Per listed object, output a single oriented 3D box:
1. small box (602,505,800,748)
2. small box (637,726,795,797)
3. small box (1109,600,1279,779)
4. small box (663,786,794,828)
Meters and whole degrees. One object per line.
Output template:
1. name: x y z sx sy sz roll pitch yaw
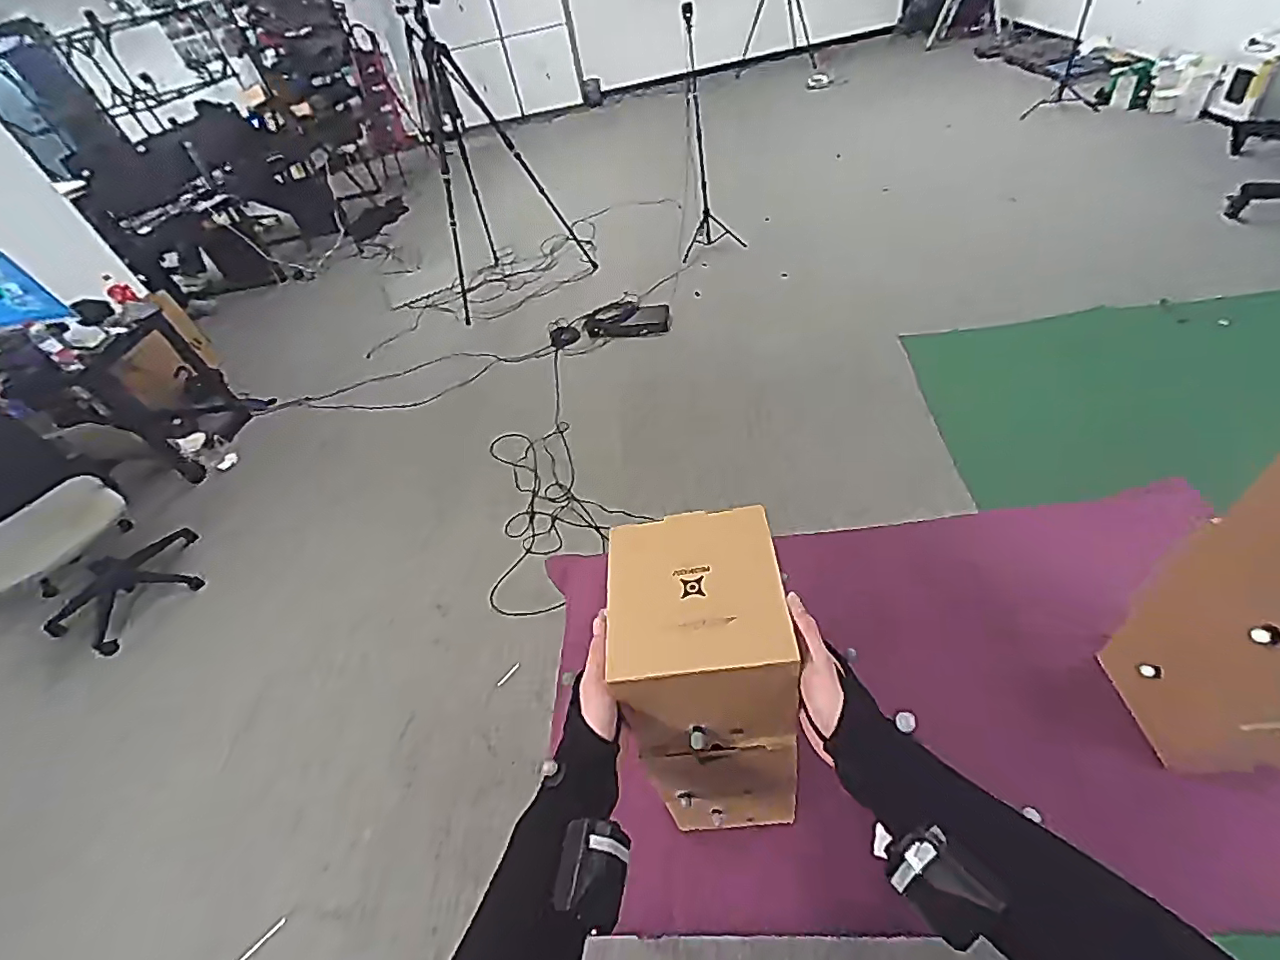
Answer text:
1. small box: 0.063 0.152 0.559 0.168 0.176 0.179 -9 45 8
2. small box: 0.093 0.273 0.665 0.168 0.176 0.179 -8 43 7
3. small box: 0.780 0.270 0.714 0.168 0.176 0.179 -8 43 9
4. small box: 0.124 0.386 0.781 0.168 0.176 0.179 -9 44 7
